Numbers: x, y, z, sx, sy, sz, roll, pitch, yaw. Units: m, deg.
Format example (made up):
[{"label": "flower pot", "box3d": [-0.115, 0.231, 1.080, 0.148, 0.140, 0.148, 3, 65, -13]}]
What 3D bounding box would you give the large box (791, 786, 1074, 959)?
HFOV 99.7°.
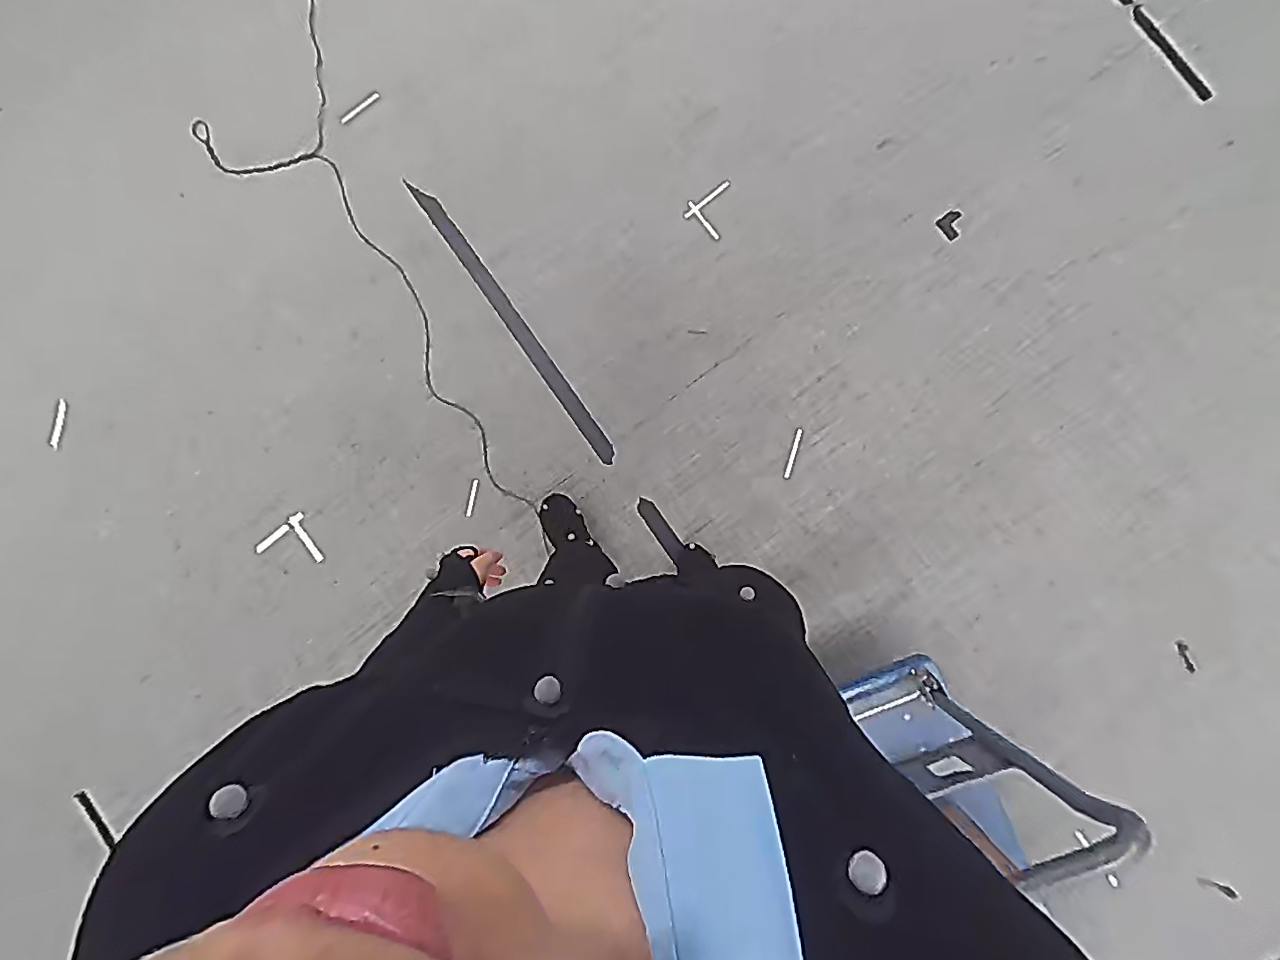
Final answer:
[{"label": "large box", "box3d": [0.580, 0.910, 1.101, 0.408, 0.320, 0.320, -23, 86, 2]}]
